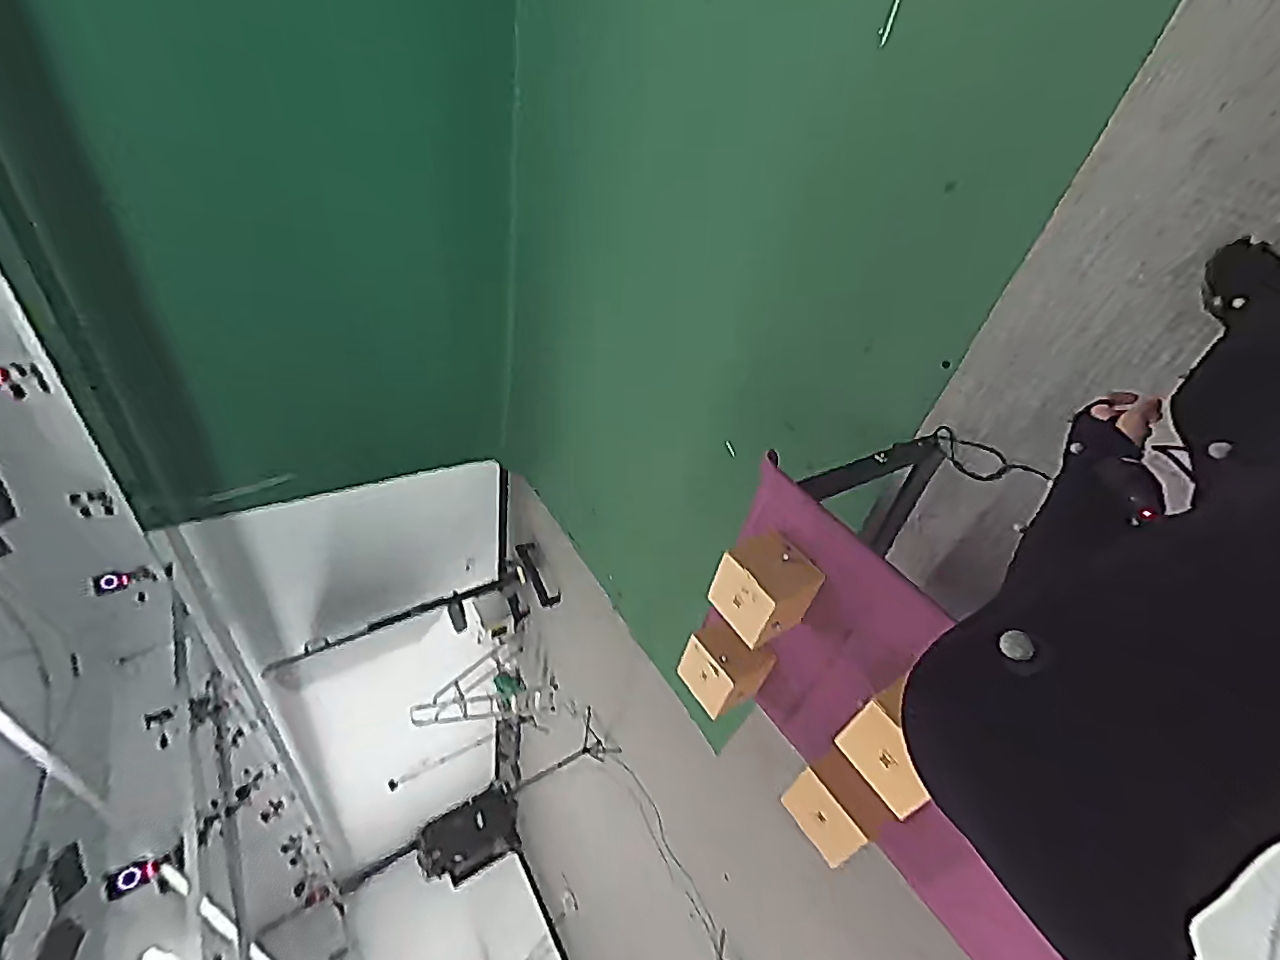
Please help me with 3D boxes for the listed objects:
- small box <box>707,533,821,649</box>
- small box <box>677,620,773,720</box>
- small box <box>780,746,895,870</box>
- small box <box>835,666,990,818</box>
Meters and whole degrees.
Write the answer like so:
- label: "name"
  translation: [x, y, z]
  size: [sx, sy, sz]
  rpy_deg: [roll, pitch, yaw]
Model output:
- label: "small box"
  translation: [0.289, 0.255, 1.264]
  size: [0.168, 0.176, 0.179]
  rpy_deg: [48, 140, 34]
- label: "small box"
  translation: [0.229, 0.503, 1.460]
  size: [0.168, 0.176, 0.179]
  rpy_deg: [45, 136, 35]
- label: "small box"
  translation: [0.455, 0.720, 1.213]
  size: [0.168, 0.176, 0.179]
  rpy_deg: [48, 137, 35]
- label: "small box"
  translation: [0.514, 0.491, 1.026]
  size: [0.168, 0.176, 0.179]
  rpy_deg: [49, 140, 36]
